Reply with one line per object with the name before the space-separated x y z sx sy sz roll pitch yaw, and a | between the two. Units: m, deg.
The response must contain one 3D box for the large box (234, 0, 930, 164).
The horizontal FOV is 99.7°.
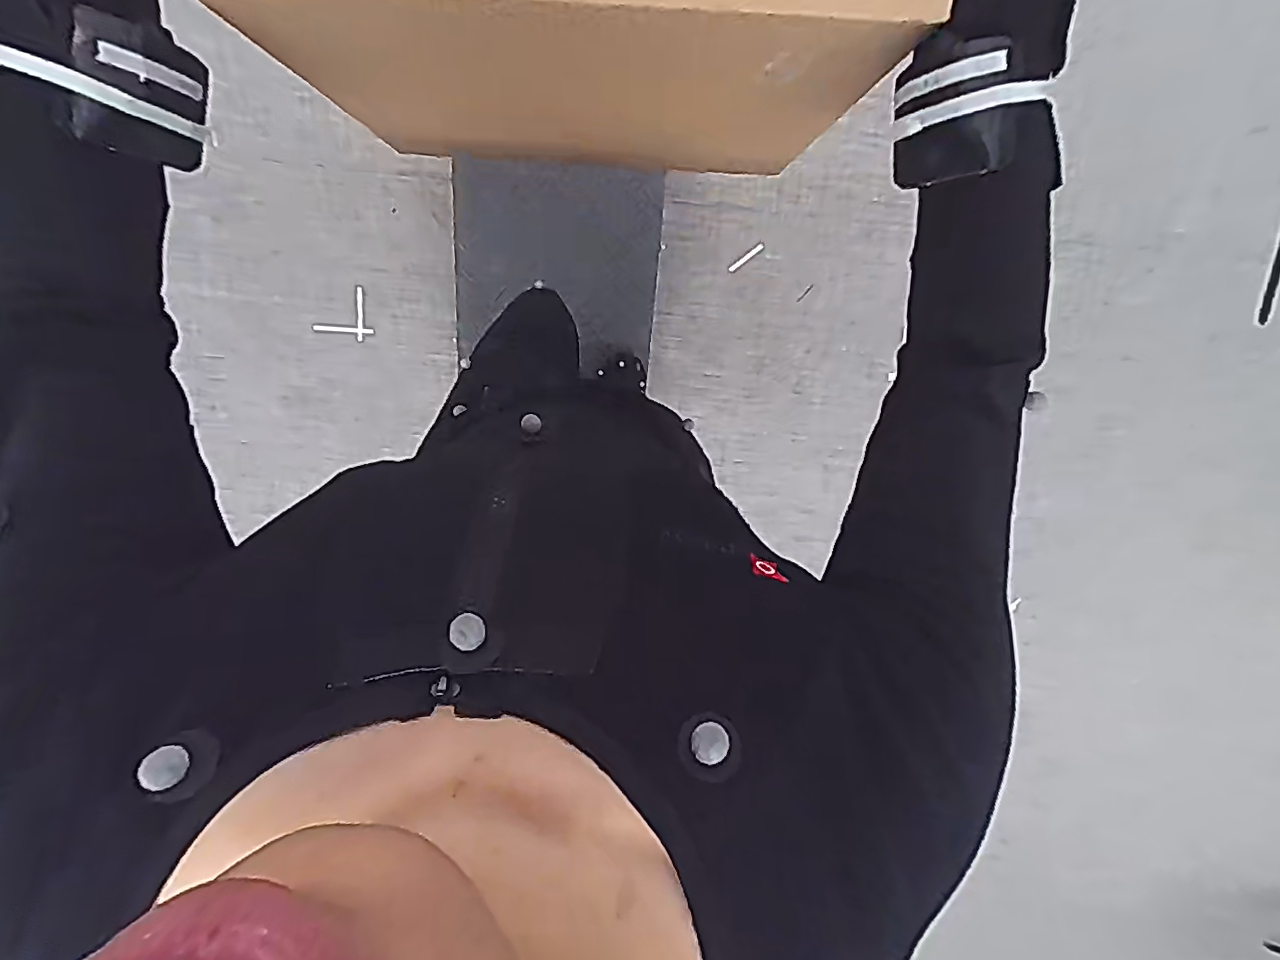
large box | -0.041 -0.447 0.392 0.408 0.320 0.320 1 107 -3
